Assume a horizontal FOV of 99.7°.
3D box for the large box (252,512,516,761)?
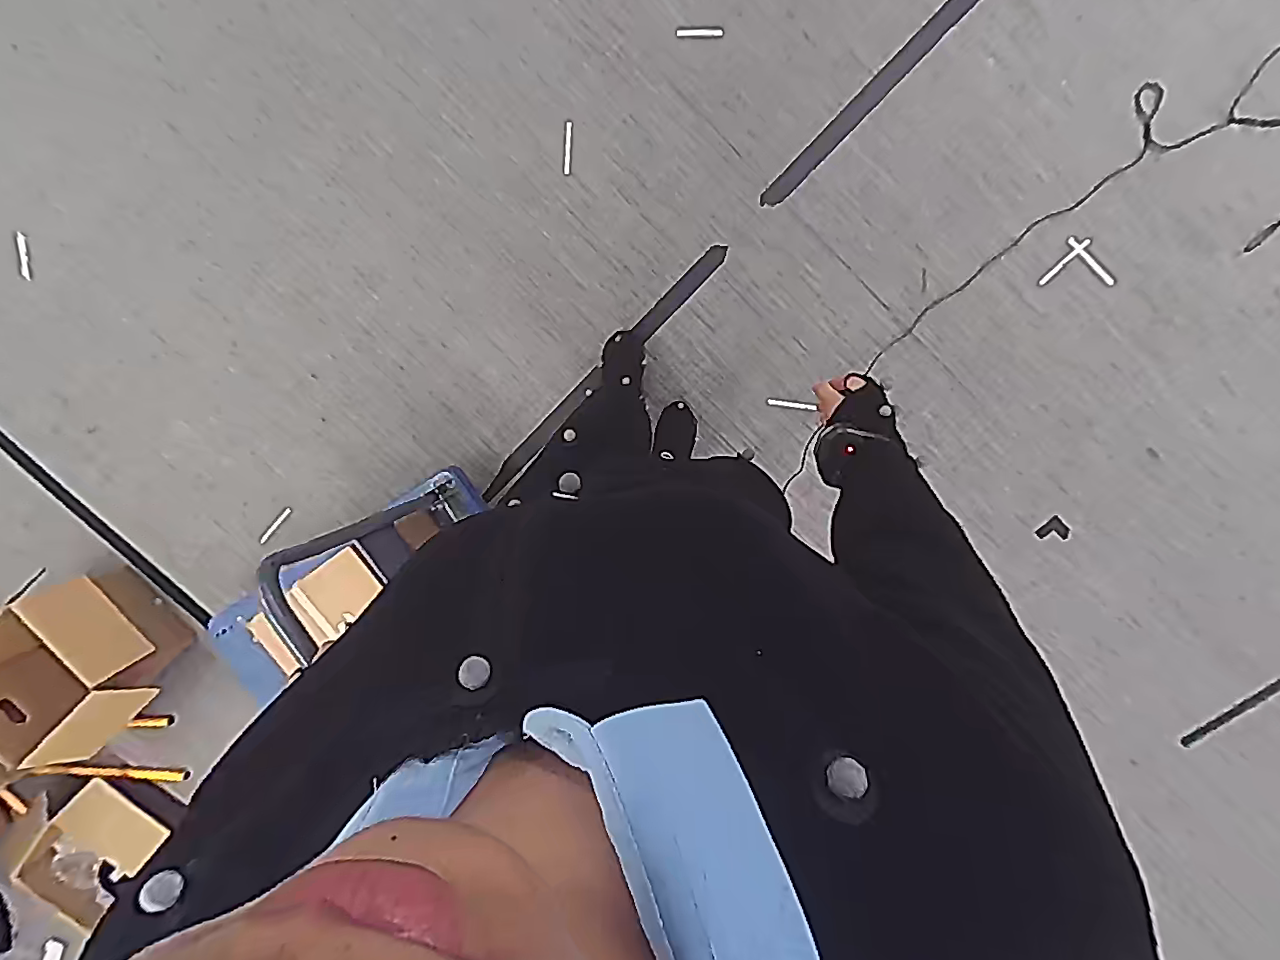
[{"bbox_3d":[-0.568,0.346,1.276,0.320,0.320,0.408,-35,95,10],"label":"large box"}]
